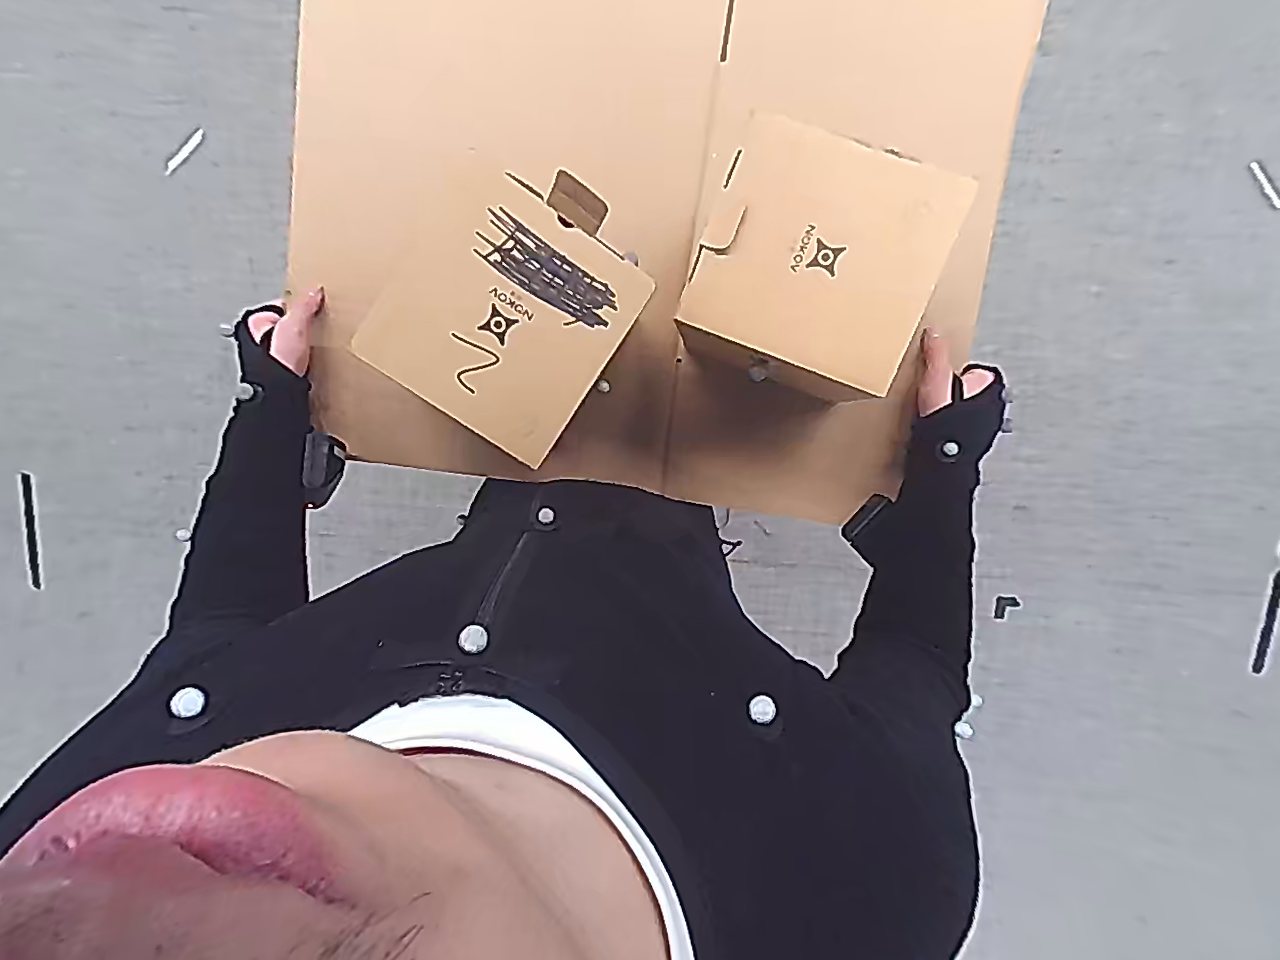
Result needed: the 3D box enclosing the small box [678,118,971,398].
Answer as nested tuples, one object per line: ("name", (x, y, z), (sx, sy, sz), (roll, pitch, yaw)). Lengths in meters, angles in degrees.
("small box", (0.151, -0.183, 0.499), (0.179, 0.176, 0.168), (22, 99, 6))
